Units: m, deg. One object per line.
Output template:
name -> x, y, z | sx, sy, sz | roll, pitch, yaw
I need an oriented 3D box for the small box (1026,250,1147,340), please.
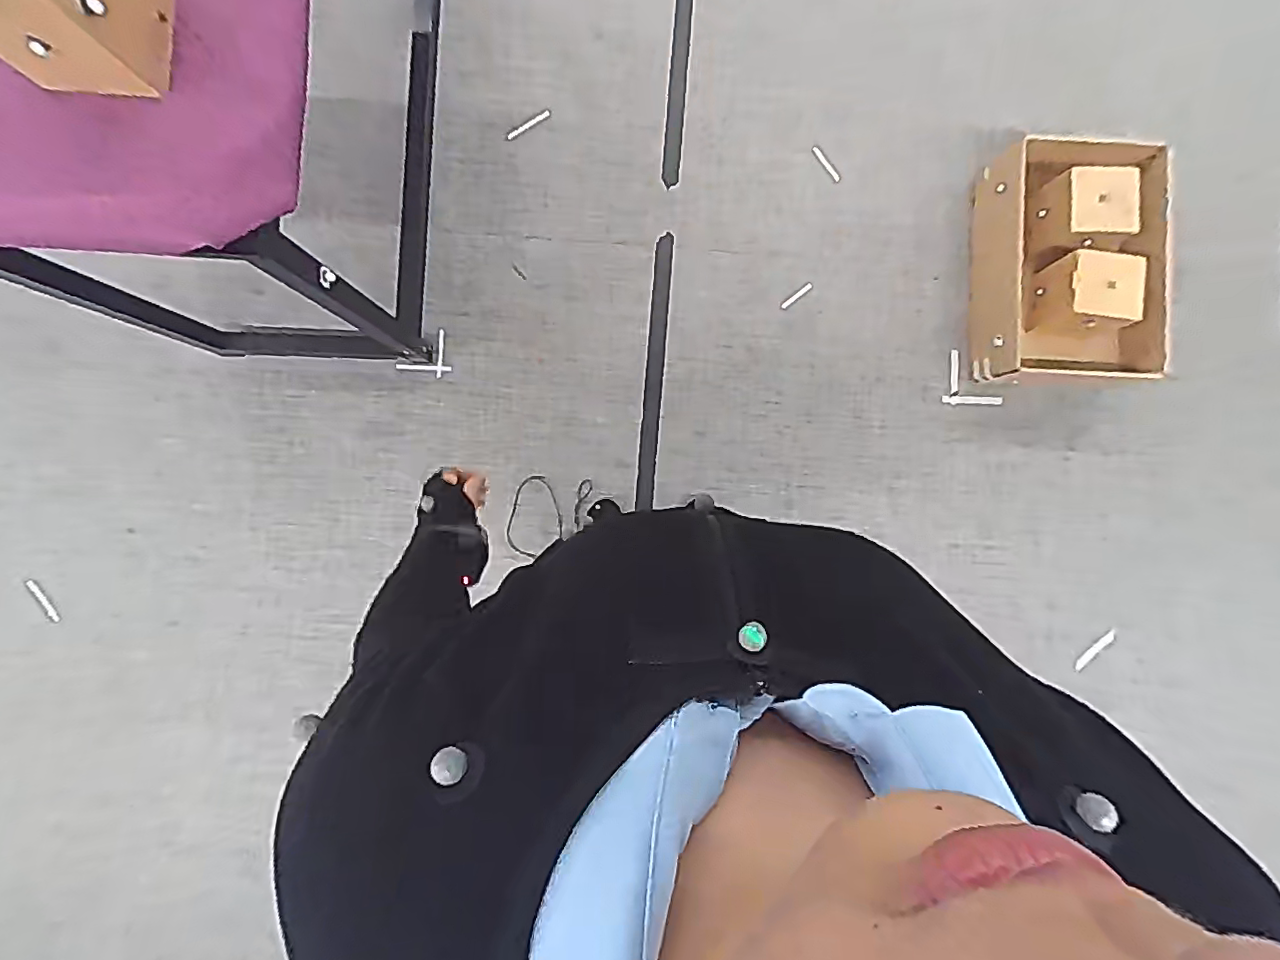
small box -> 1.177, -0.482, 1.435 | 0.179, 0.176, 0.168 | 8, 87, -1

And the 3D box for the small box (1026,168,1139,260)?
small box -> 1.168, -0.700, 1.438 | 0.179, 0.176, 0.168 | 1, 90, -1
